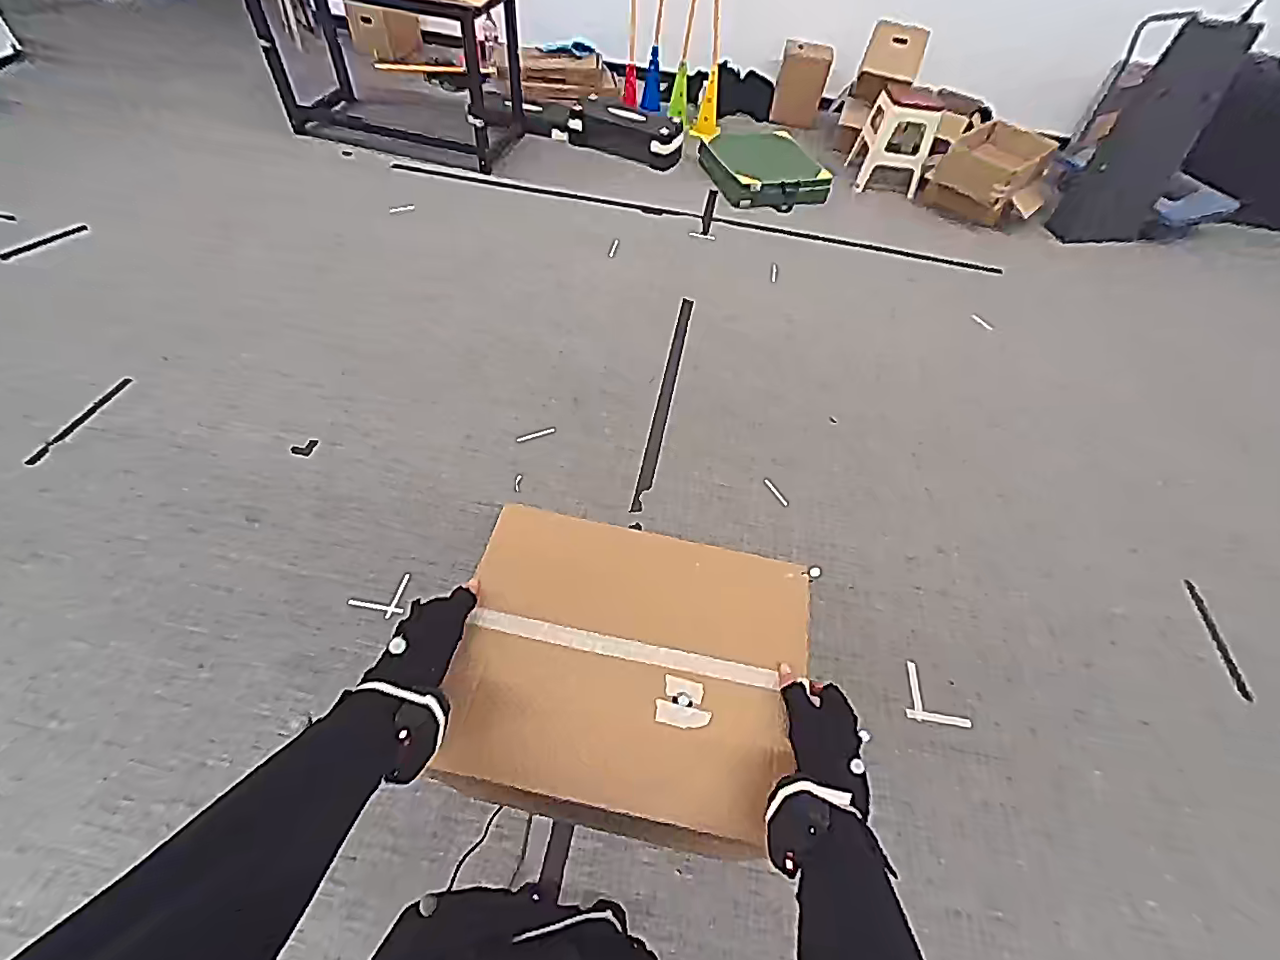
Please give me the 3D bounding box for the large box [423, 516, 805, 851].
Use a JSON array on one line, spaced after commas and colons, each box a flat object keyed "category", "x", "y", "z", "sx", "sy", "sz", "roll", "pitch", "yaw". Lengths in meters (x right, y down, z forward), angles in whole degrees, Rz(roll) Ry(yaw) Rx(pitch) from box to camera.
[{"category": "large box", "x": -0.019, "y": 0.290, "z": 0.752, "sx": 0.408, "sy": 0.320, "sz": 0.320, "roll": 12, "pitch": 55, "yaw": 2}]
